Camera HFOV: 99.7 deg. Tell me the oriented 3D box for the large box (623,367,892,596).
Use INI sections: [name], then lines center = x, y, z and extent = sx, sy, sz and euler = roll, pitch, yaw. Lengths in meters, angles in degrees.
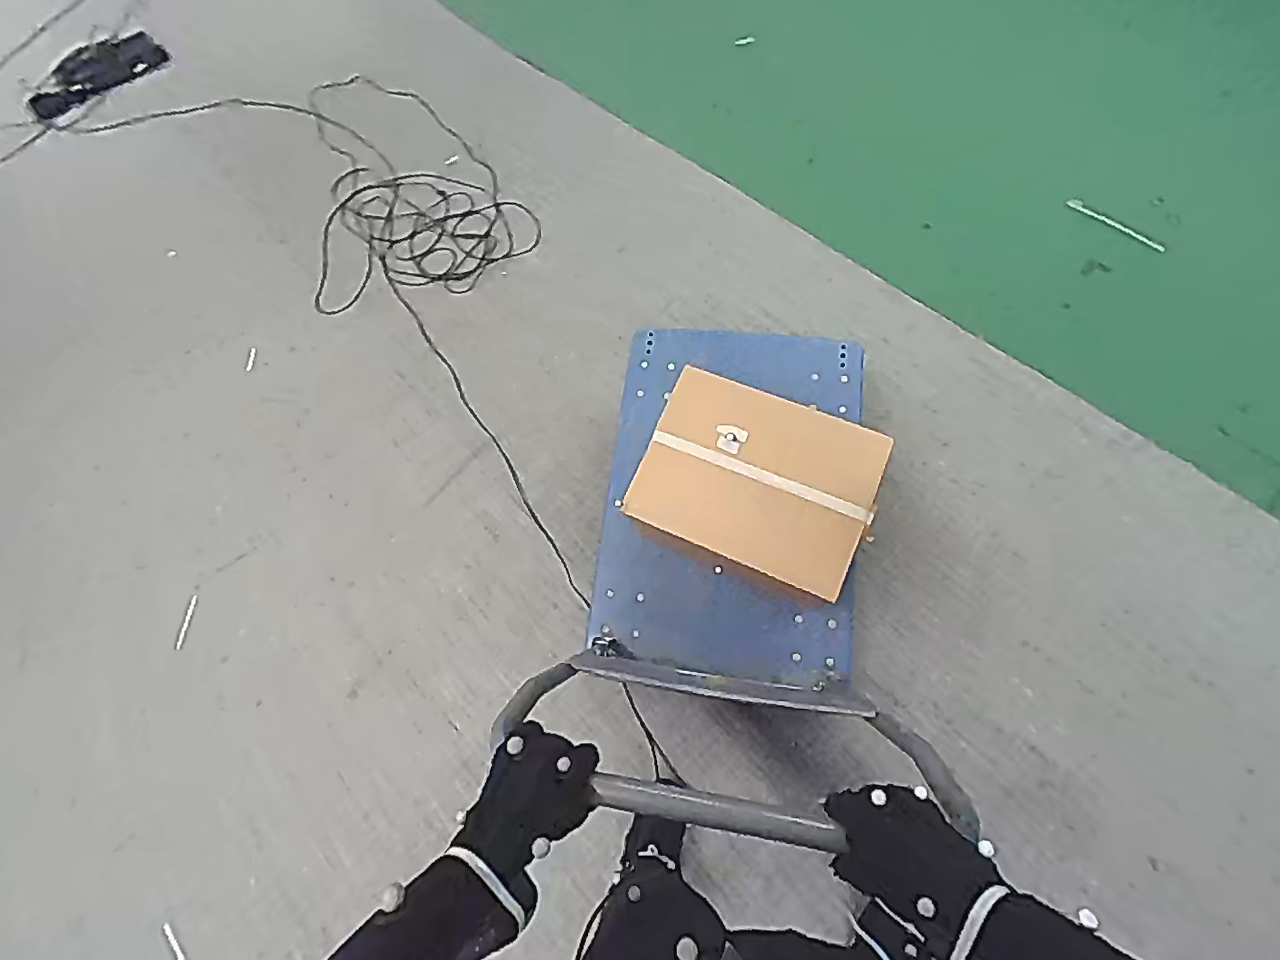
[large box]
center = 0.230, 0.022, 1.107
extent = 0.408, 0.320, 0.320
euler = 22, 80, 13
